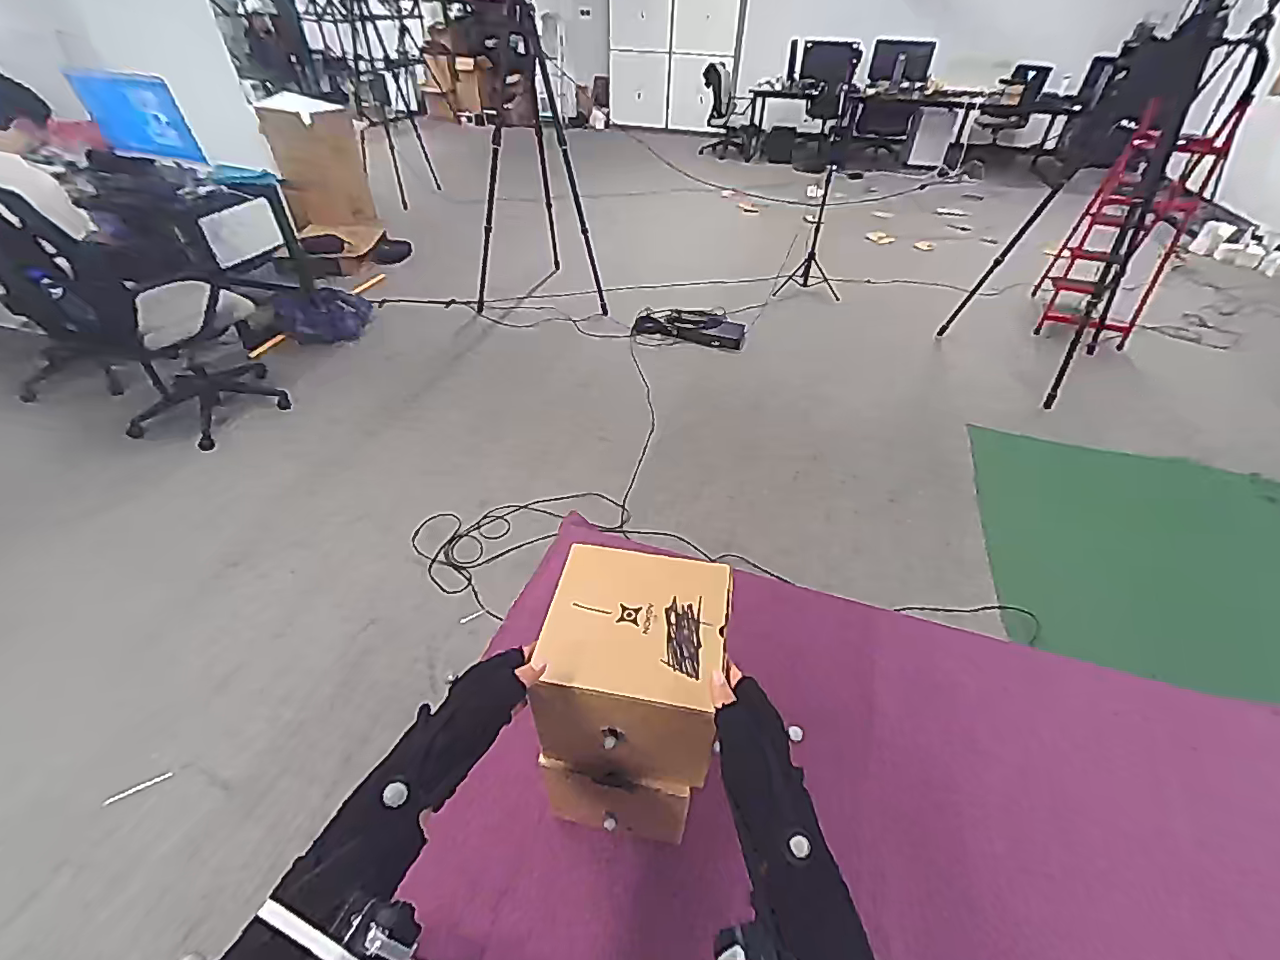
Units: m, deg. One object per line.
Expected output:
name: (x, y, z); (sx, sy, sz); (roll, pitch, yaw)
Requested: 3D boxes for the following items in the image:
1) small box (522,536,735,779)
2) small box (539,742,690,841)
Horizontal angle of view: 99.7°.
small box: (-0.006, 0.189, 0.574); (0.179, 0.176, 0.168); (10, 40, 9)
small box: (-0.016, 0.316, 0.682); (0.168, 0.176, 0.179); (8, 42, 8)
